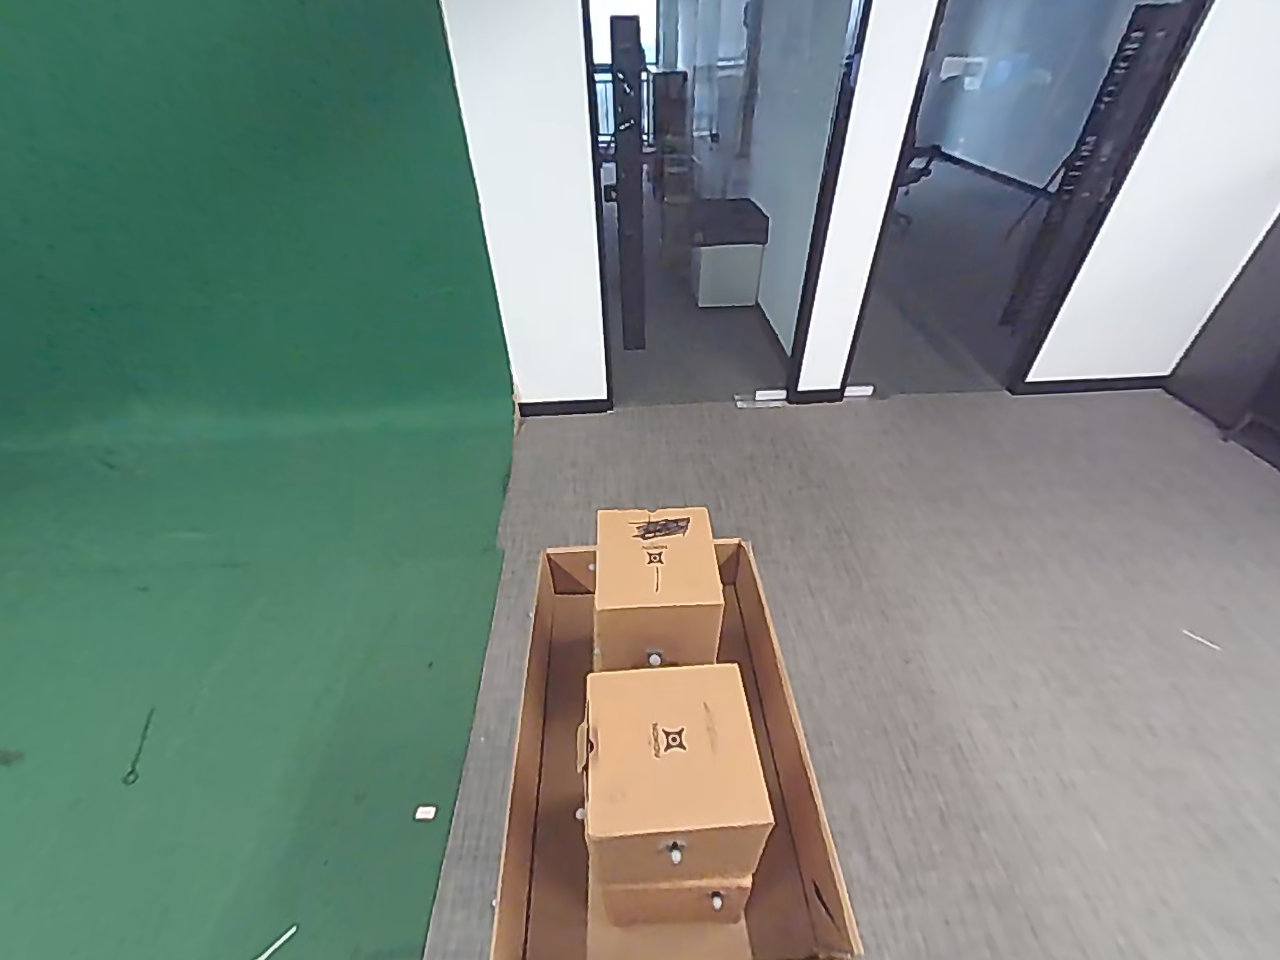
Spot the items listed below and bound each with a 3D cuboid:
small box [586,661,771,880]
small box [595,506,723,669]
[{"bbox_3d":[0.033,0.327,0.610,0.179,0.176,0.168,-3,41,-3],"label":"small box"},{"bbox_3d":[0.022,0.159,0.798,0.168,0.176,0.179,-2,43,-1],"label":"small box"}]
